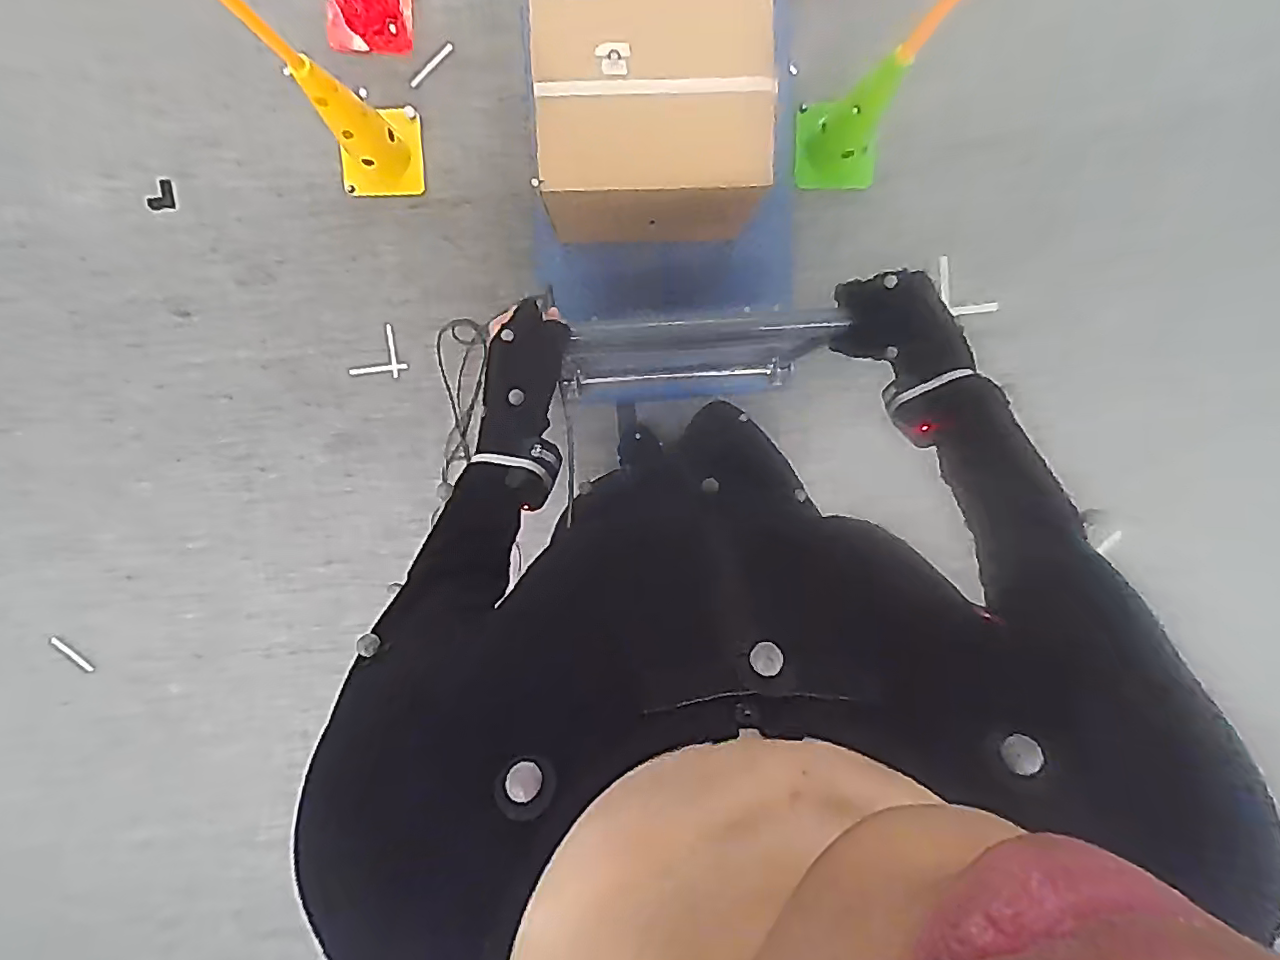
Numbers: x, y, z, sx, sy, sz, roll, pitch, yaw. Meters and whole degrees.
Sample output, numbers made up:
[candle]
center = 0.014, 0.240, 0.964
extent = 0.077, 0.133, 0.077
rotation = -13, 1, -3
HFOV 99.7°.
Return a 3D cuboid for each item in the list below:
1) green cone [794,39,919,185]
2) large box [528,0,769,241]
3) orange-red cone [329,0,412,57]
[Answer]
[green cone]
center = 0.495, -0.825, 1.192
extent = 0.202, 0.368, 0.200
rotation = -1, 98, -2
[large box]
center = 0.019, -0.676, 1.060
extent = 0.408, 0.320, 0.320
rotation = -2, 98, 0
[orange-red cone]
center = -0.646, -1.119, 1.137
extent = 0.198, 0.360, 0.199
rotation = 2, 96, -2
